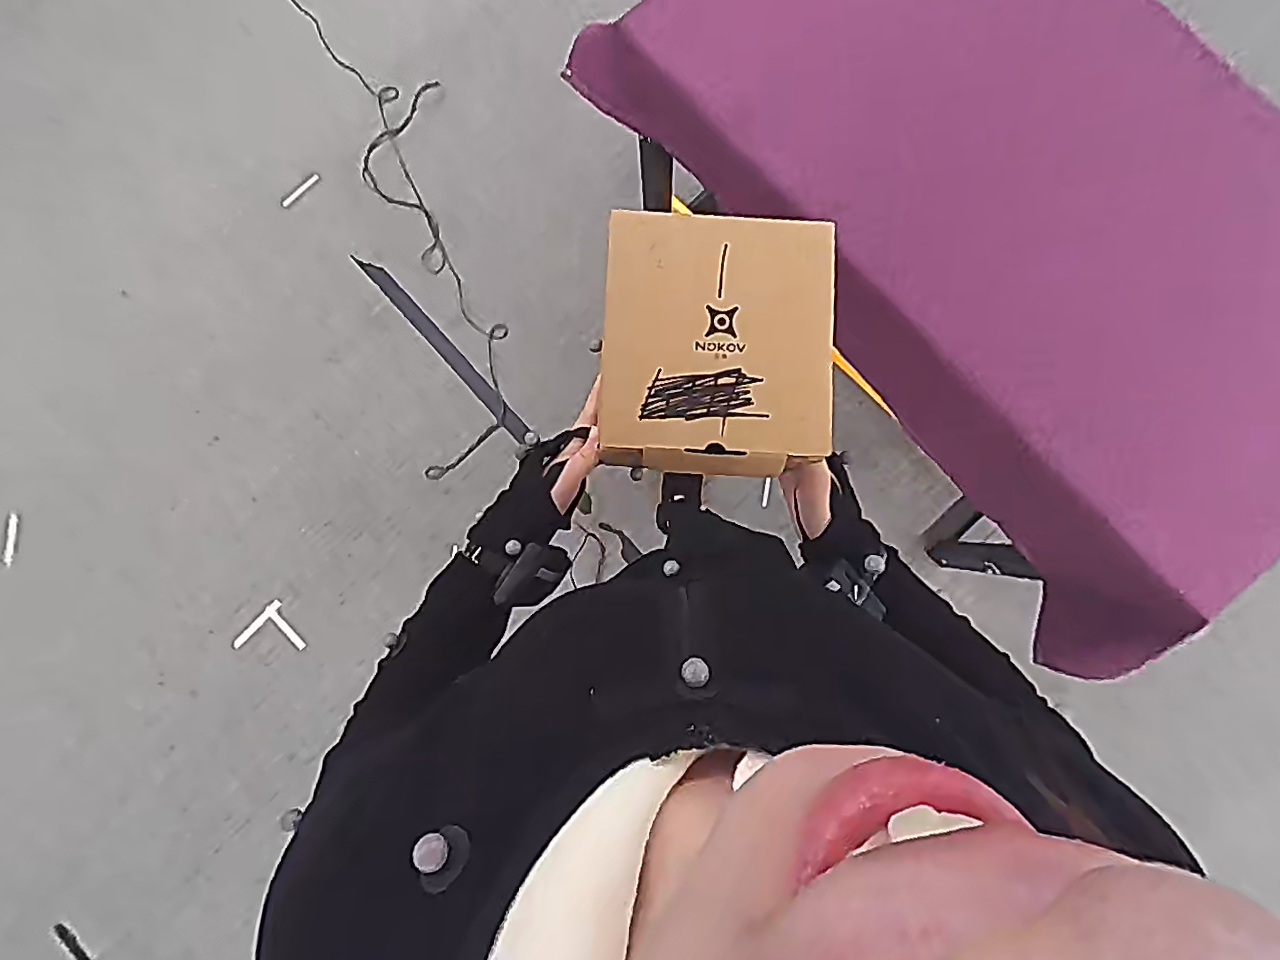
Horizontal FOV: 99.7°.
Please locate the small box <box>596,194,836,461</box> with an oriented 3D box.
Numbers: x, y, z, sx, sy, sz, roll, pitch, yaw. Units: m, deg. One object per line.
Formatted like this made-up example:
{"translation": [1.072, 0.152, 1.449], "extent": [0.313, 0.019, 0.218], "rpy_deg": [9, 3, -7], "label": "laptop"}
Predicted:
{"translation": [0.054, -0.111, 0.465], "extent": [0.168, 0.176, 0.179], "rpy_deg": [3, 87, -2], "label": "small box"}
